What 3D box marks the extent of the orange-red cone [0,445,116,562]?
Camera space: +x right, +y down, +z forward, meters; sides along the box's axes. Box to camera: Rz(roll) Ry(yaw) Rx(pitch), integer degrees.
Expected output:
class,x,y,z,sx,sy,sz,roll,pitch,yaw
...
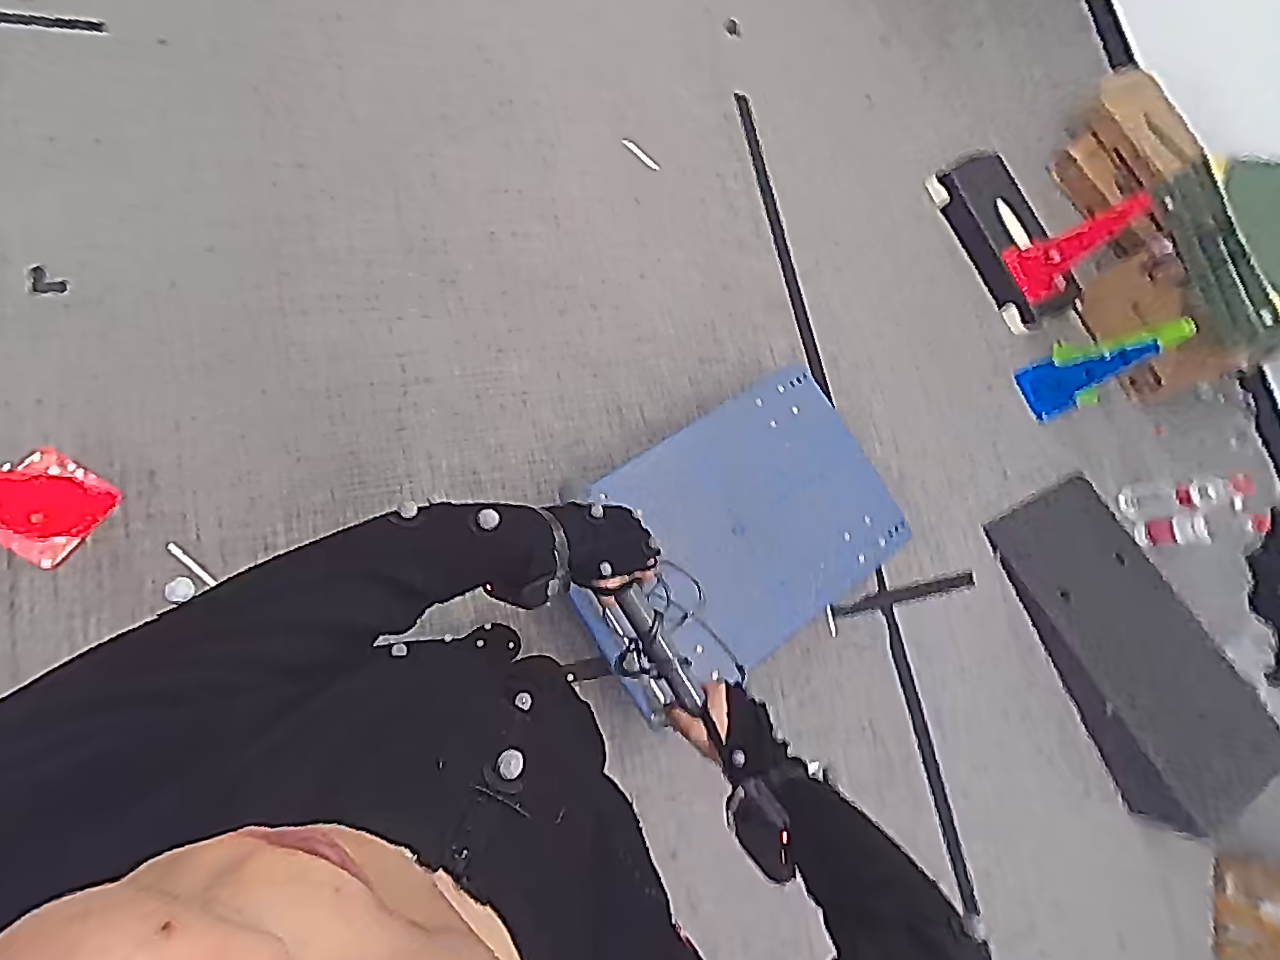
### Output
class,x,y,z,sx,sy,sz,roll,pitch,yaw
orange-red cone,-1.223,0.018,0.989,0.199,0.360,0.198,37,73,-6
